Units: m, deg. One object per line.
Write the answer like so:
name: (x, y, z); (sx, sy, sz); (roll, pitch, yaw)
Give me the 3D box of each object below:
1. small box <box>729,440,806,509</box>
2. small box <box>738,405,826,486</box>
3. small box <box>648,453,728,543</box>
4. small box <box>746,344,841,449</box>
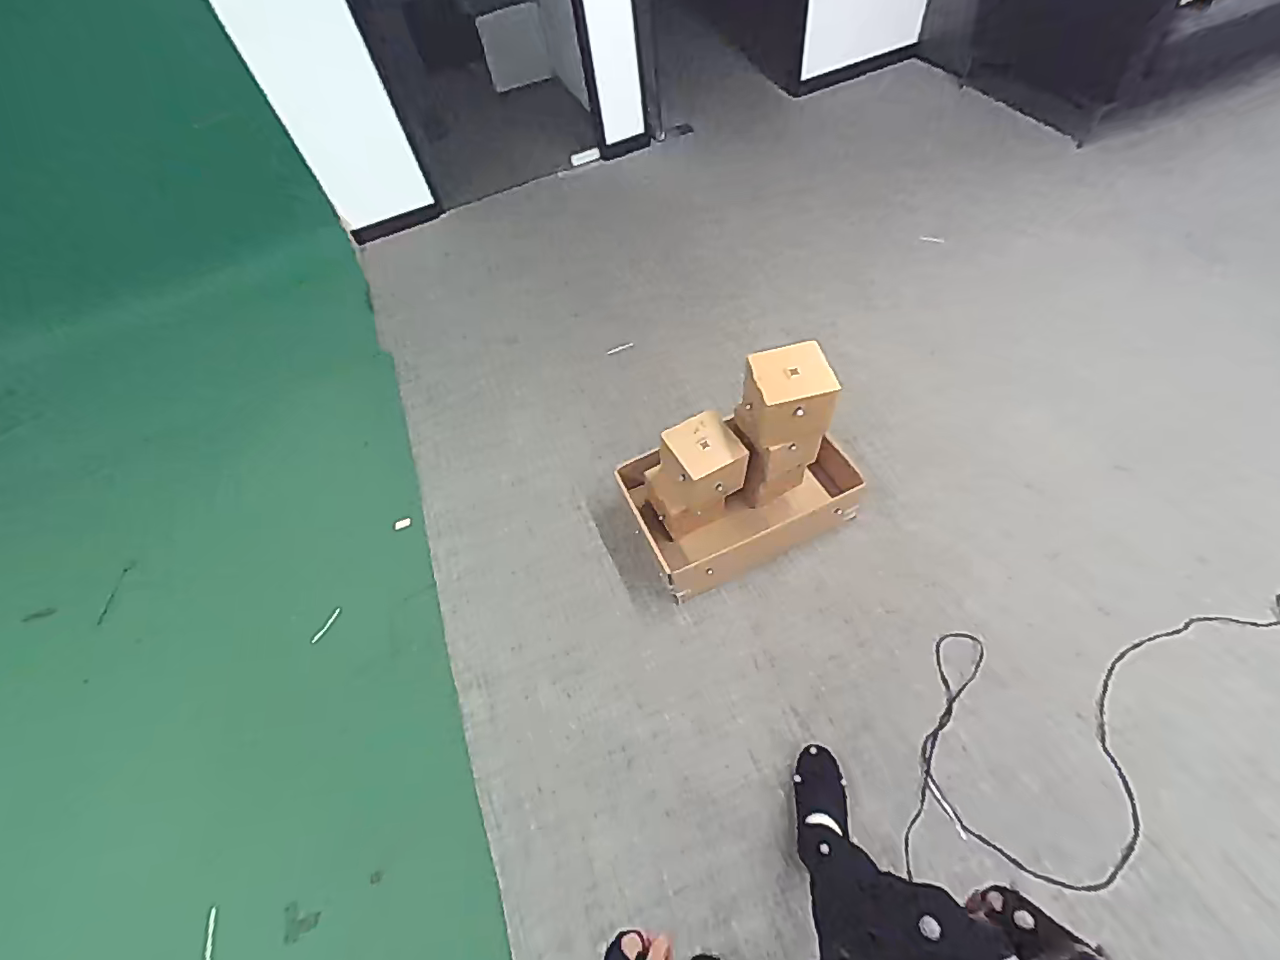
small box: (0.385, -0.043, 1.617); (0.179, 0.176, 0.168); (-31, 58, -10)
small box: (0.378, -0.118, 1.470); (0.168, 0.176, 0.179); (-27, 57, -7)
small box: (0.143, 0.059, 1.588); (0.179, 0.176, 0.168); (-26, 58, -11)
small box: (0.367, -0.200, 1.329); (0.179, 0.176, 0.168); (-15, 57, 1)
